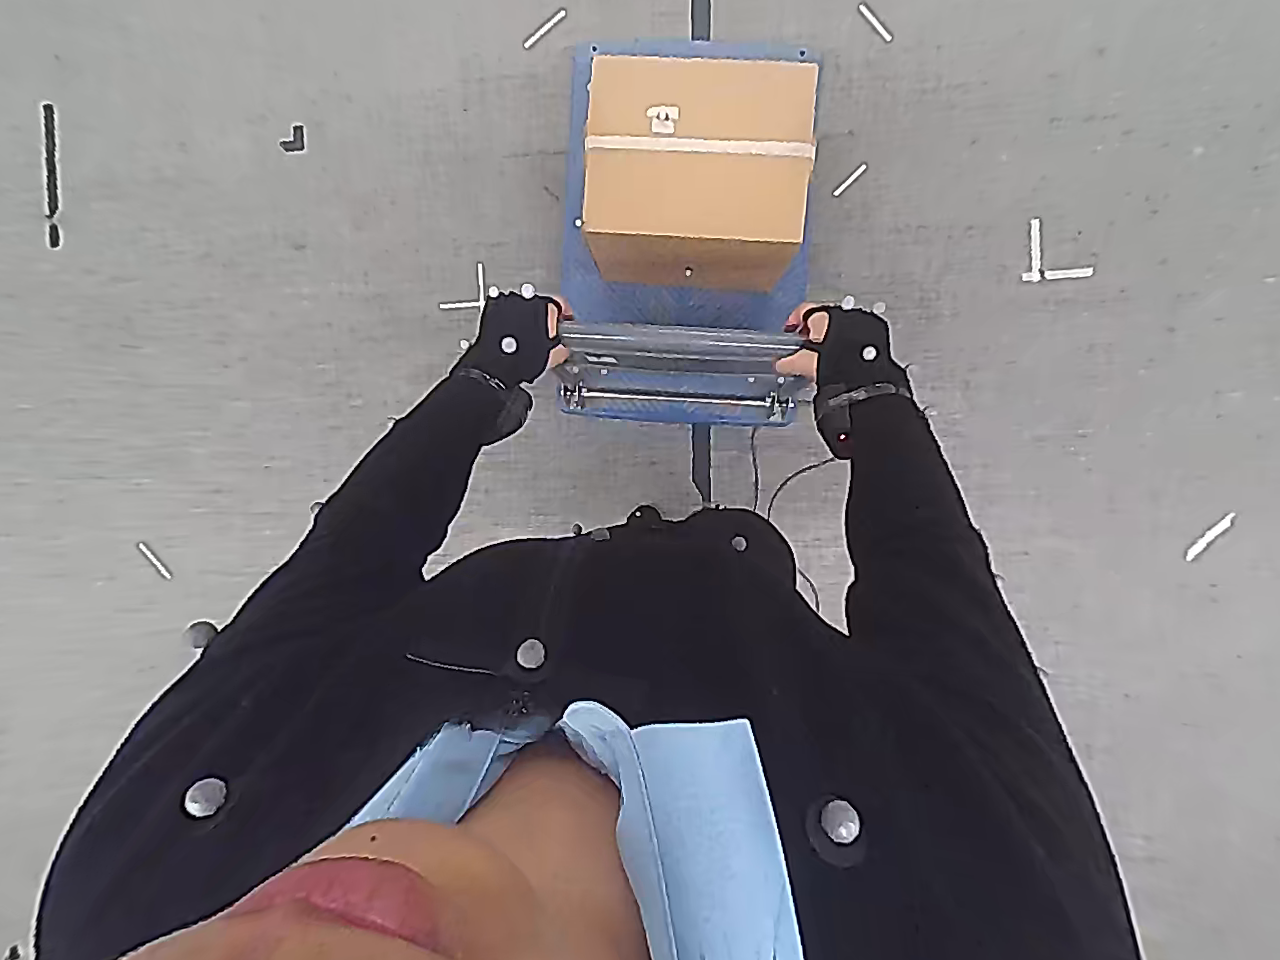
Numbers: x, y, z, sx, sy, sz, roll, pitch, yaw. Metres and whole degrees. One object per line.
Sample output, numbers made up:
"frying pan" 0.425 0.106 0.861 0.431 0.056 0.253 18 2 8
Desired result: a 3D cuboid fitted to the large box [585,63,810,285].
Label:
"large box" 0.115 -0.615 1.141 0.408 0.320 0.320 4 93 4
